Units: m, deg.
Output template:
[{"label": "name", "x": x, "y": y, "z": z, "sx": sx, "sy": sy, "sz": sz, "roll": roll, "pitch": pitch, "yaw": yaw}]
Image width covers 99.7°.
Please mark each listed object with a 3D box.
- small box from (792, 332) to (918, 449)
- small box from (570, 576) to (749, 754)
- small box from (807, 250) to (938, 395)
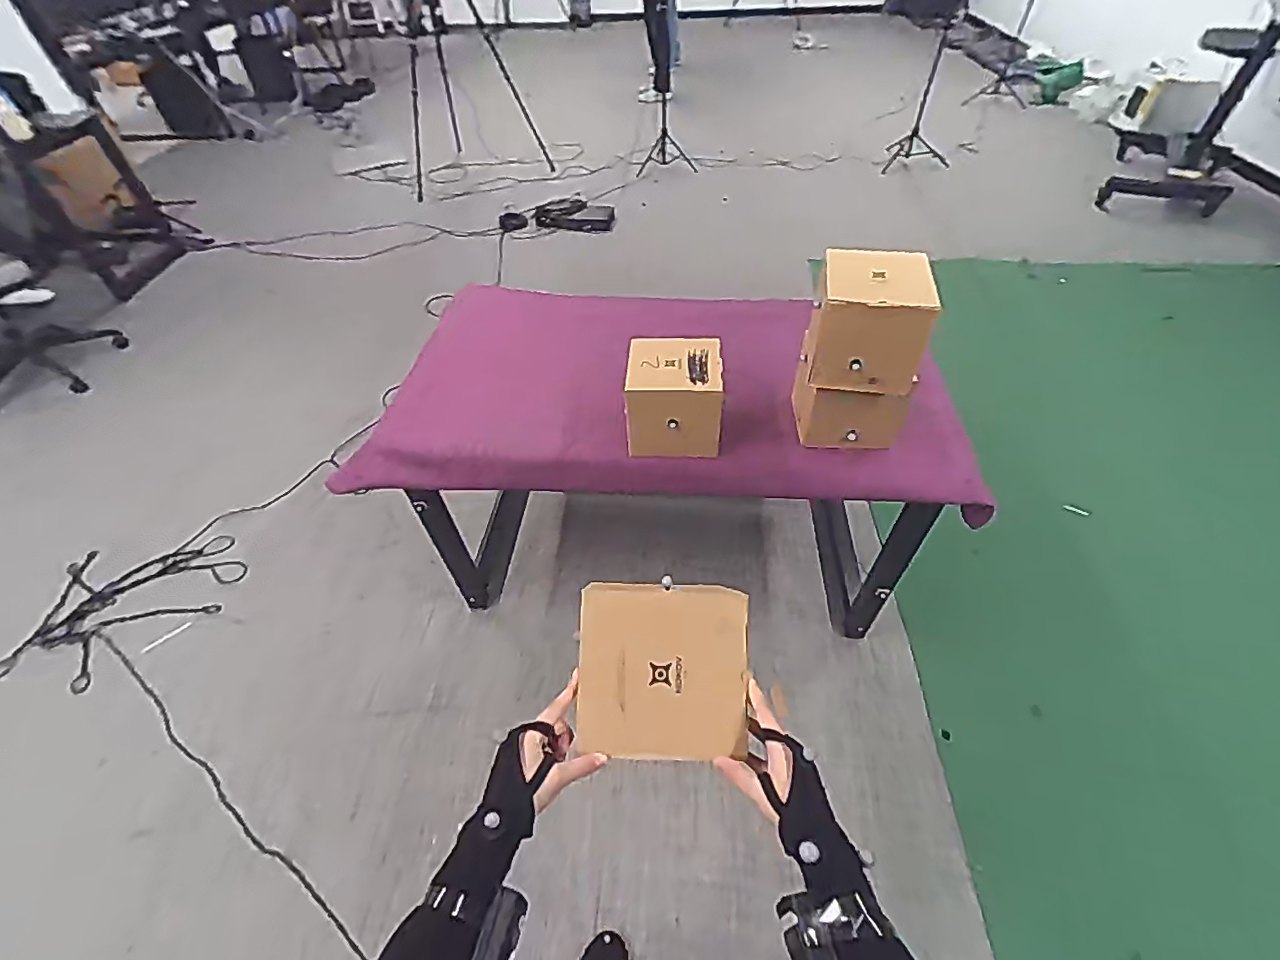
[{"label": "small box", "x": 0.408, "y": -0.174, "z": 1.059, "sx": 0.179, "sy": 0.176, "sz": 0.168, "roll": 1, "pitch": 47, "yaw": 5}, {"label": "small box", "x": 0.019, "y": 0.199, "z": 0.623, "sx": 0.179, "sy": 0.176, "sz": 0.168, "roll": 3, "pitch": 80, "yaw": -1}, {"label": "small box", "x": 0.385, "y": -0.271, "z": 0.927, "sx": 0.168, "sy": 0.176, "sz": 0.179, "roll": 7, "pitch": 49, "yaw": 11}]
